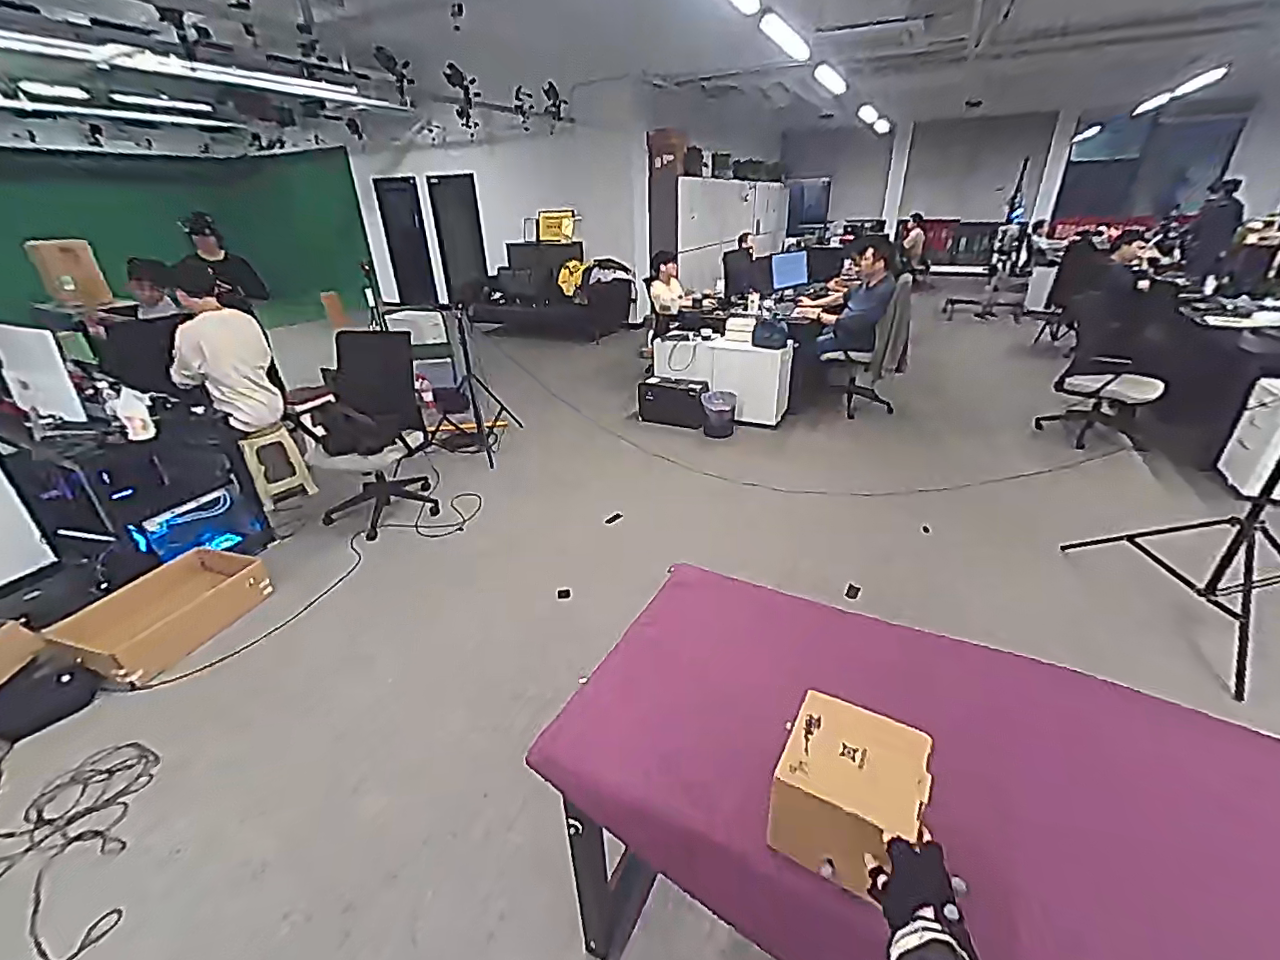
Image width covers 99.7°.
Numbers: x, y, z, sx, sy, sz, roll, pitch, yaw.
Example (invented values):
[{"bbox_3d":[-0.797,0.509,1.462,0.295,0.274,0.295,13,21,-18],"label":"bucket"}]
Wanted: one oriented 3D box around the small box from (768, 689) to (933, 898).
[{"bbox_3d":[0.299,0.448,0.779,0.179,0.176,0.168,15,30,29],"label":"small box"}]
